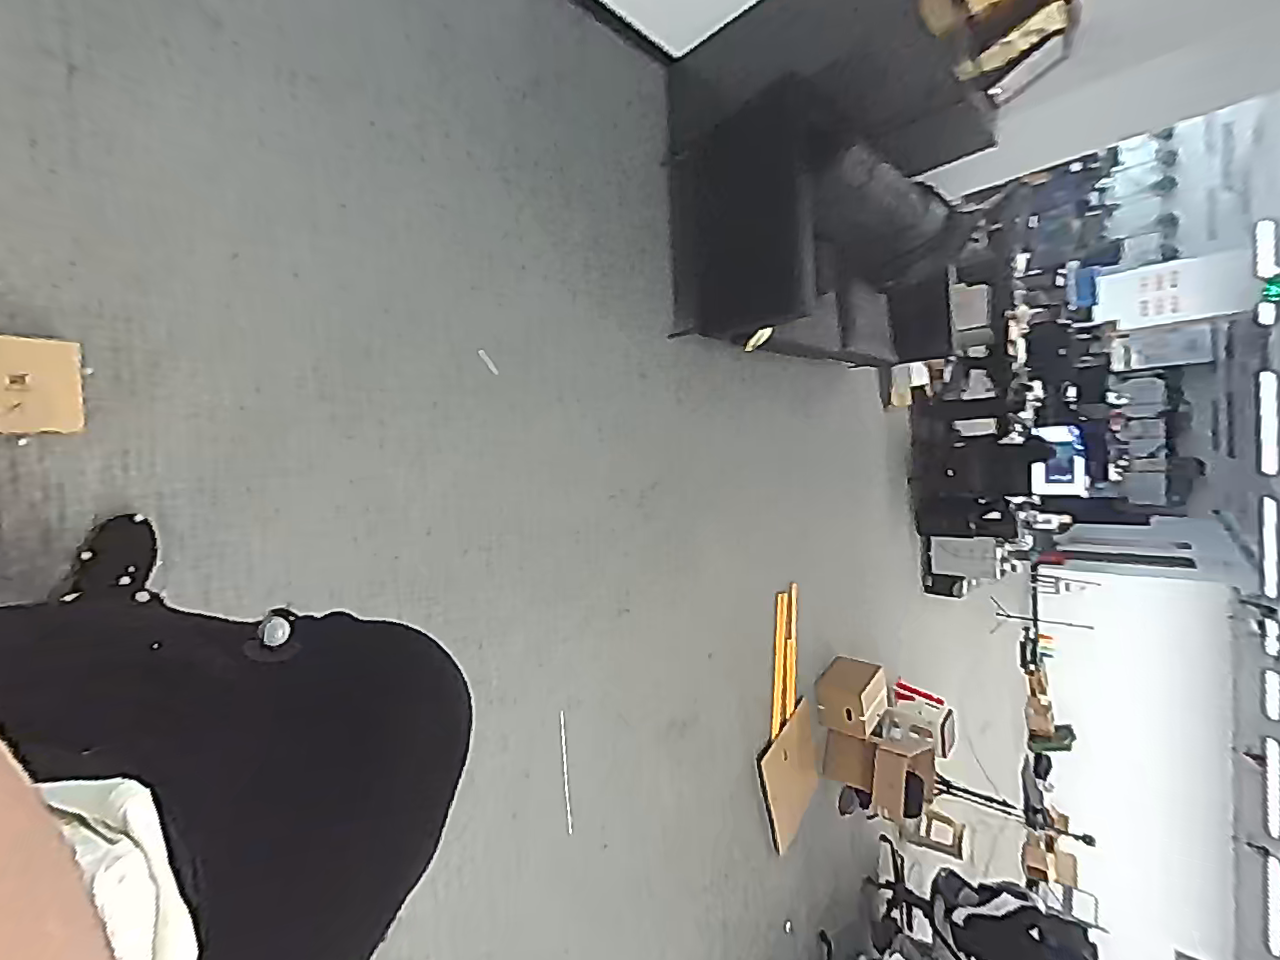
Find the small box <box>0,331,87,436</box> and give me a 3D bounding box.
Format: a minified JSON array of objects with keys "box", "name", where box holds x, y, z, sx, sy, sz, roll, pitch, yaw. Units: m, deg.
[{"box":[-1.188,-0.179,1.042,0.168,0.176,0.179,-3,92,-46],"name":"small box"}]
